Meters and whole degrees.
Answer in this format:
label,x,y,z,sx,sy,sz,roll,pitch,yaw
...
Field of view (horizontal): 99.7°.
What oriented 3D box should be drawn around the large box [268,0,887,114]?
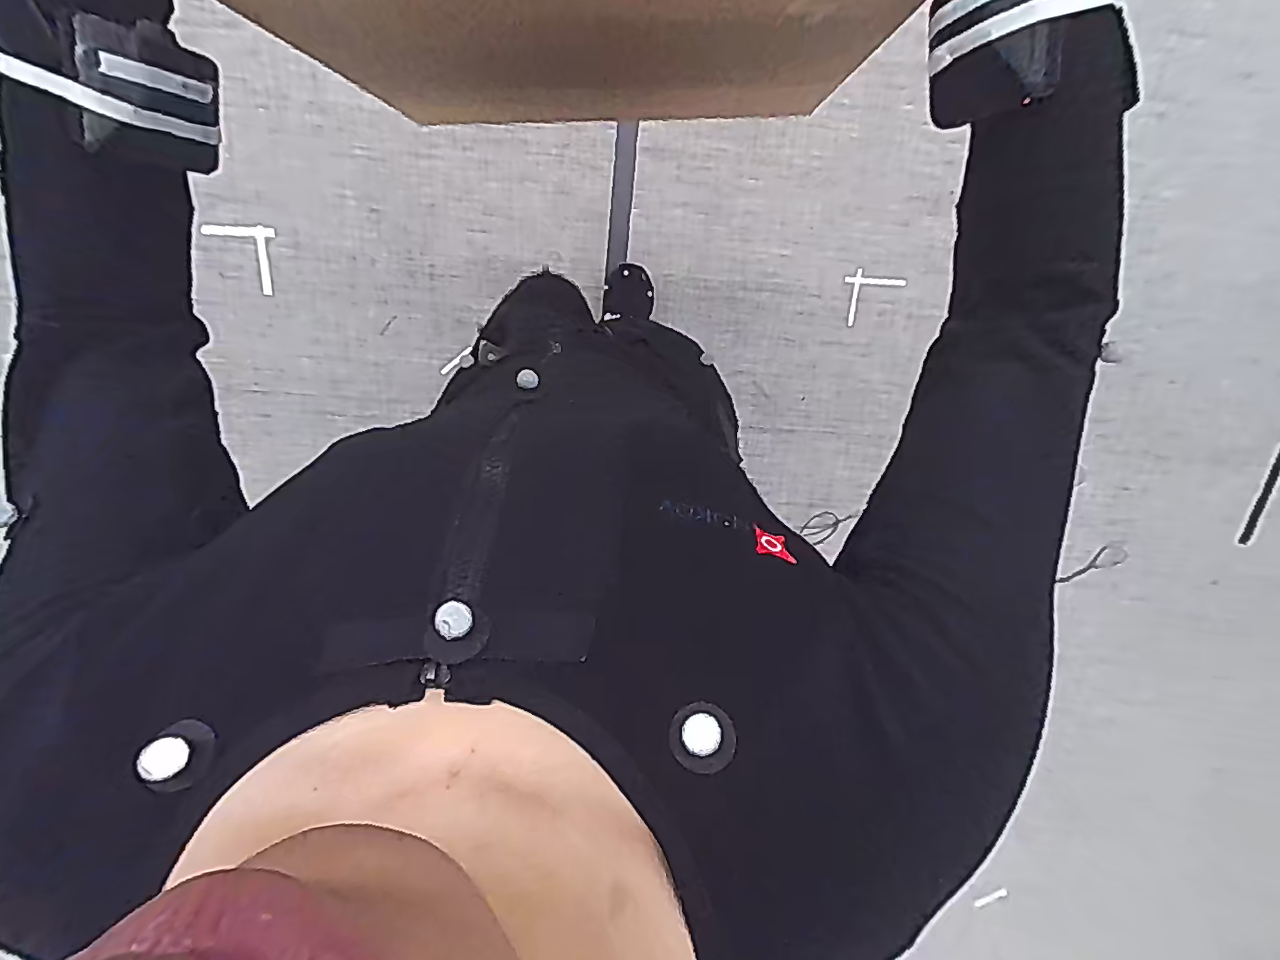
label,x,y,z,sx,sy,sz,roll,pitch,yaw
large box,-0.035,-0.468,0.355,0.408,0.320,0.320,-1,112,1
